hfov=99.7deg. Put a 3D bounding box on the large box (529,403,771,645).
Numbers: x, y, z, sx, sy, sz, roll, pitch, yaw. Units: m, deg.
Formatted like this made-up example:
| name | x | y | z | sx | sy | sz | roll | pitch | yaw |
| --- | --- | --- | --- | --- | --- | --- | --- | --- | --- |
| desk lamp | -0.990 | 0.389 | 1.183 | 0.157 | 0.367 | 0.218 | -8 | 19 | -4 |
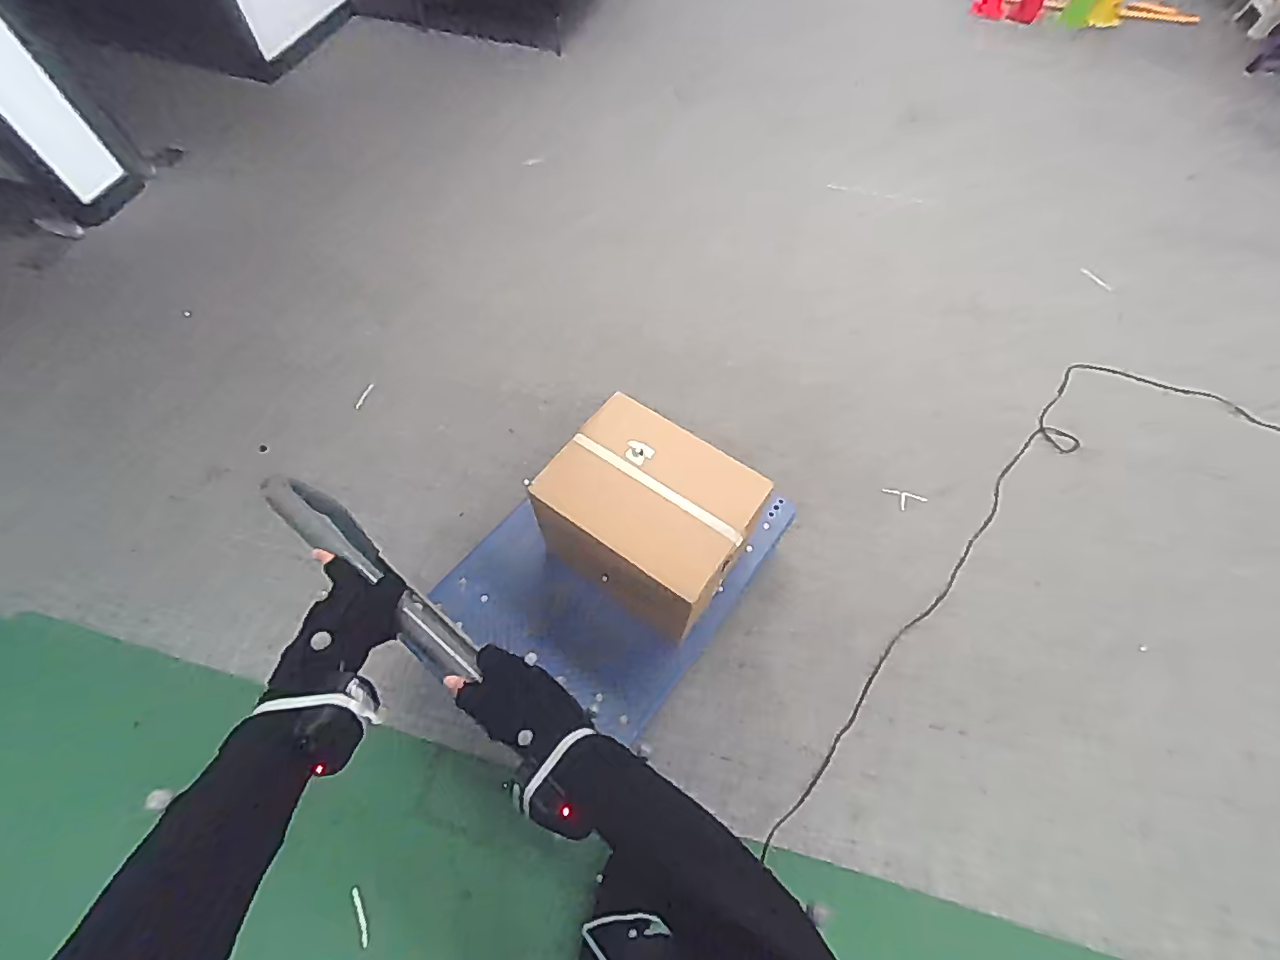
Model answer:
| name | x | y | z | sx | sy | sz | roll | pitch | yaw |
| --- | --- | --- | --- | --- | --- | --- | --- | --- | --- |
| large box | 0.025 | 0.104 | 1.221 | 0.408 | 0.320 | 0.320 | 32 | 63 | 18 |
